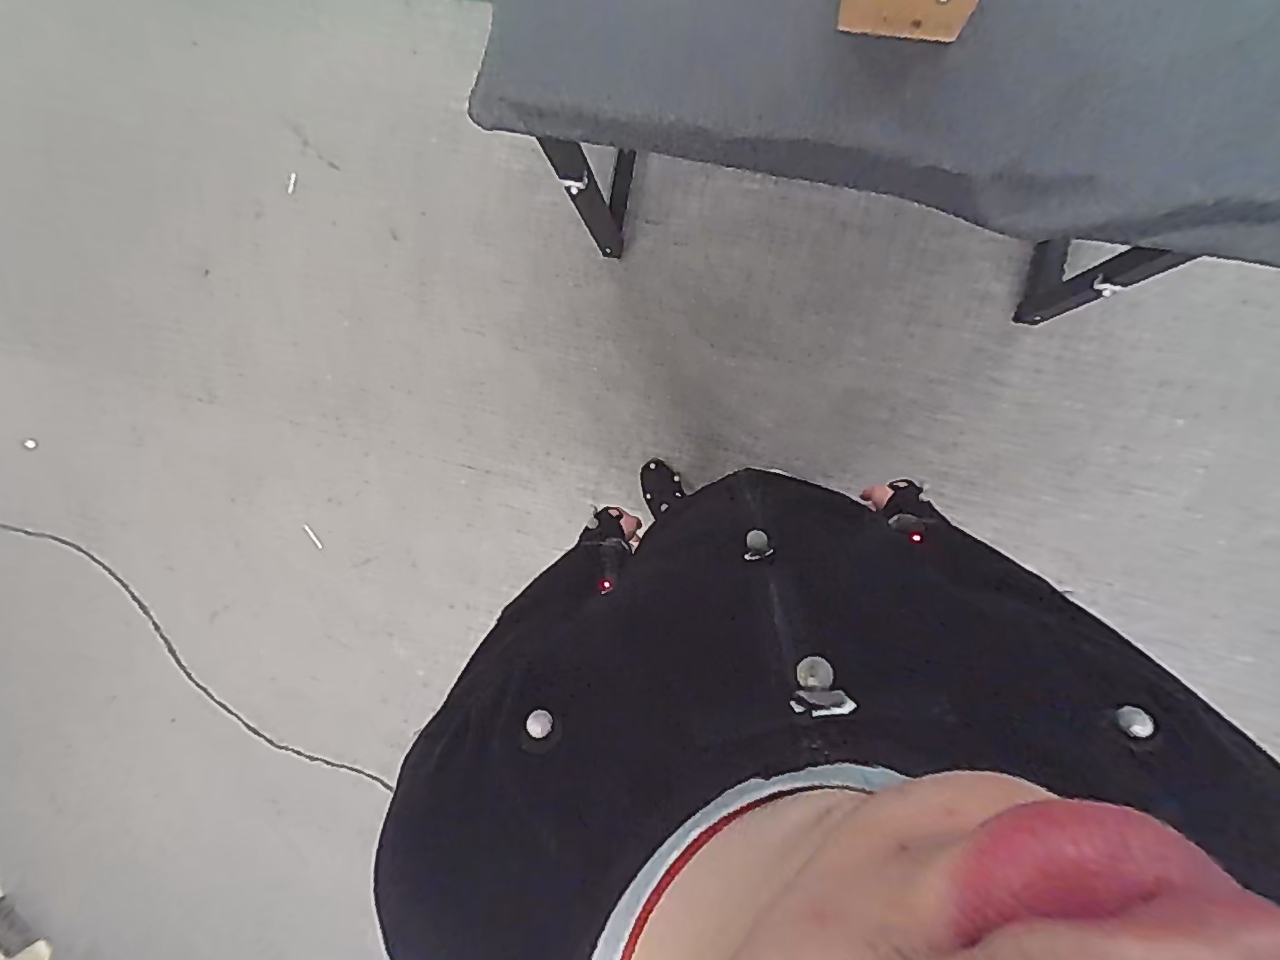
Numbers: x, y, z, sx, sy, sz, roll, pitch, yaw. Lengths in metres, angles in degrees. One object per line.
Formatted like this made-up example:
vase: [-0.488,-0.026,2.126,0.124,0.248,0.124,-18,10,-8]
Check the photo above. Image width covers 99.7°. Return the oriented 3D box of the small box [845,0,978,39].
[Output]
small box: [0.373,-0.711,0.684,0.168,0.176,0.179,12,93,6]
